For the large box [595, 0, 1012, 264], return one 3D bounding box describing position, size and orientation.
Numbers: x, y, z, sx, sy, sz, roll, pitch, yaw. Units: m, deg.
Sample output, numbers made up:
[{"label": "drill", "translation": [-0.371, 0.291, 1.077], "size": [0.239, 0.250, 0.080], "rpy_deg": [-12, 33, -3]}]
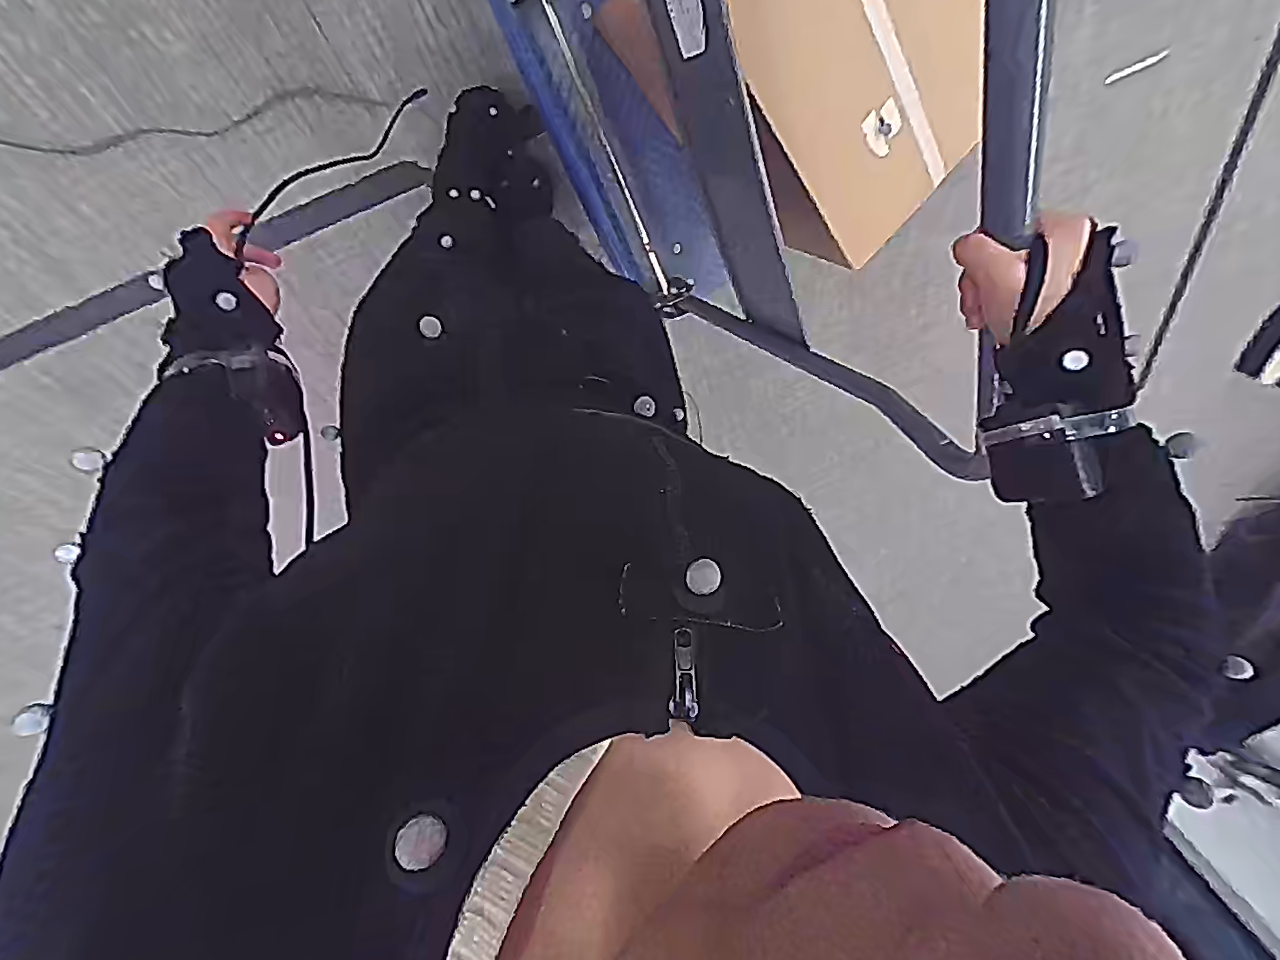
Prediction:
[{"label": "large box", "translation": [0.216, -0.580, 0.736], "size": [0.320, 0.320, 0.408], "rpy_deg": [-48, 132, 11]}]
